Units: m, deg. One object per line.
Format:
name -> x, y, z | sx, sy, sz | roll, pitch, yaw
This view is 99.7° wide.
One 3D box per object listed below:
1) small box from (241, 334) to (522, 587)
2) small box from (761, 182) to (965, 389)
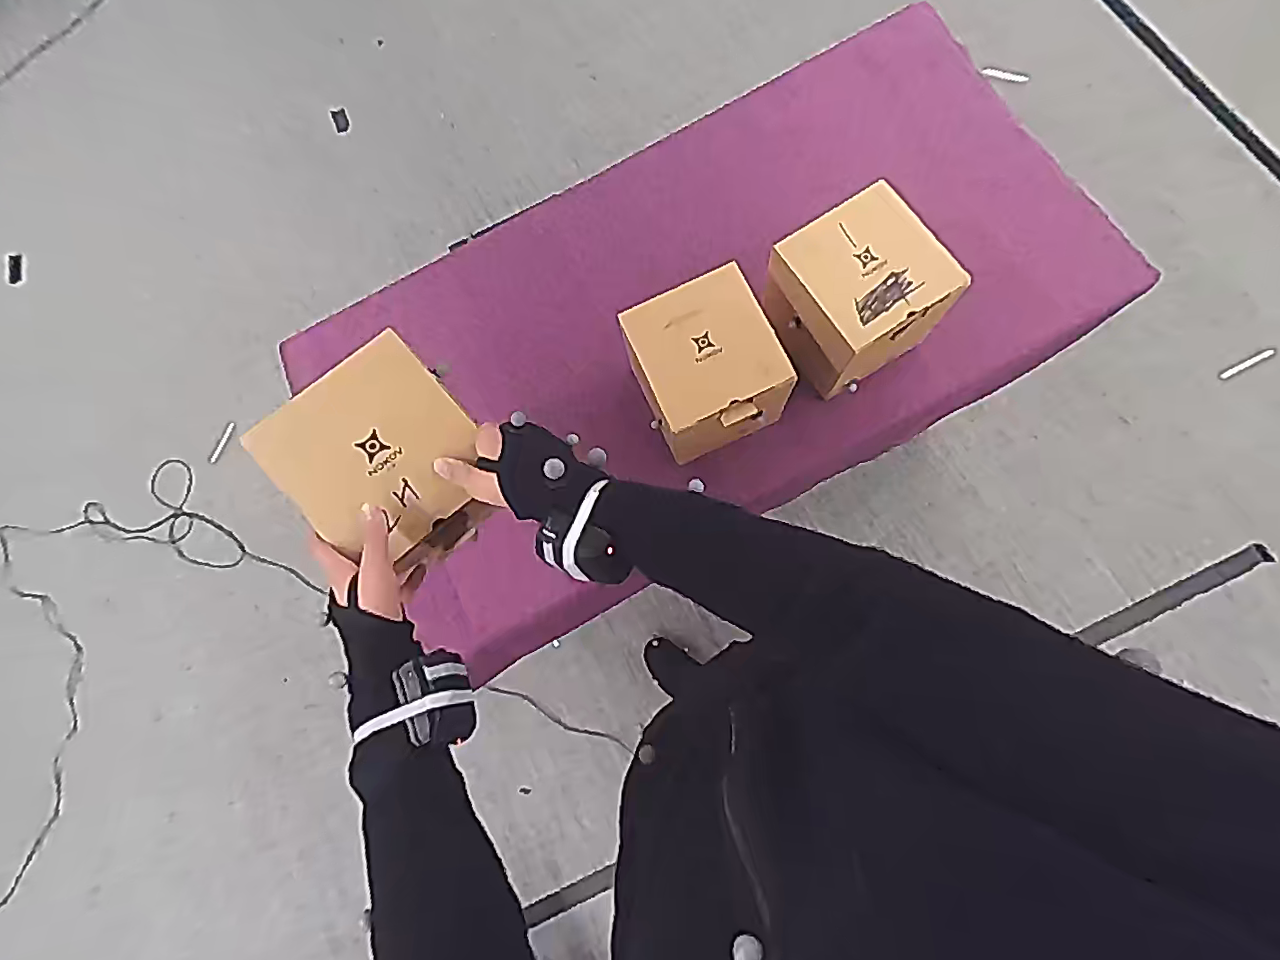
small box -> -0.244, -0.011, 0.562 | 0.168, 0.176, 0.179 | -41, 90, -9
small box -> 0.283, -0.245, 0.733 | 0.168, 0.176, 0.179 | -32, 76, -1
